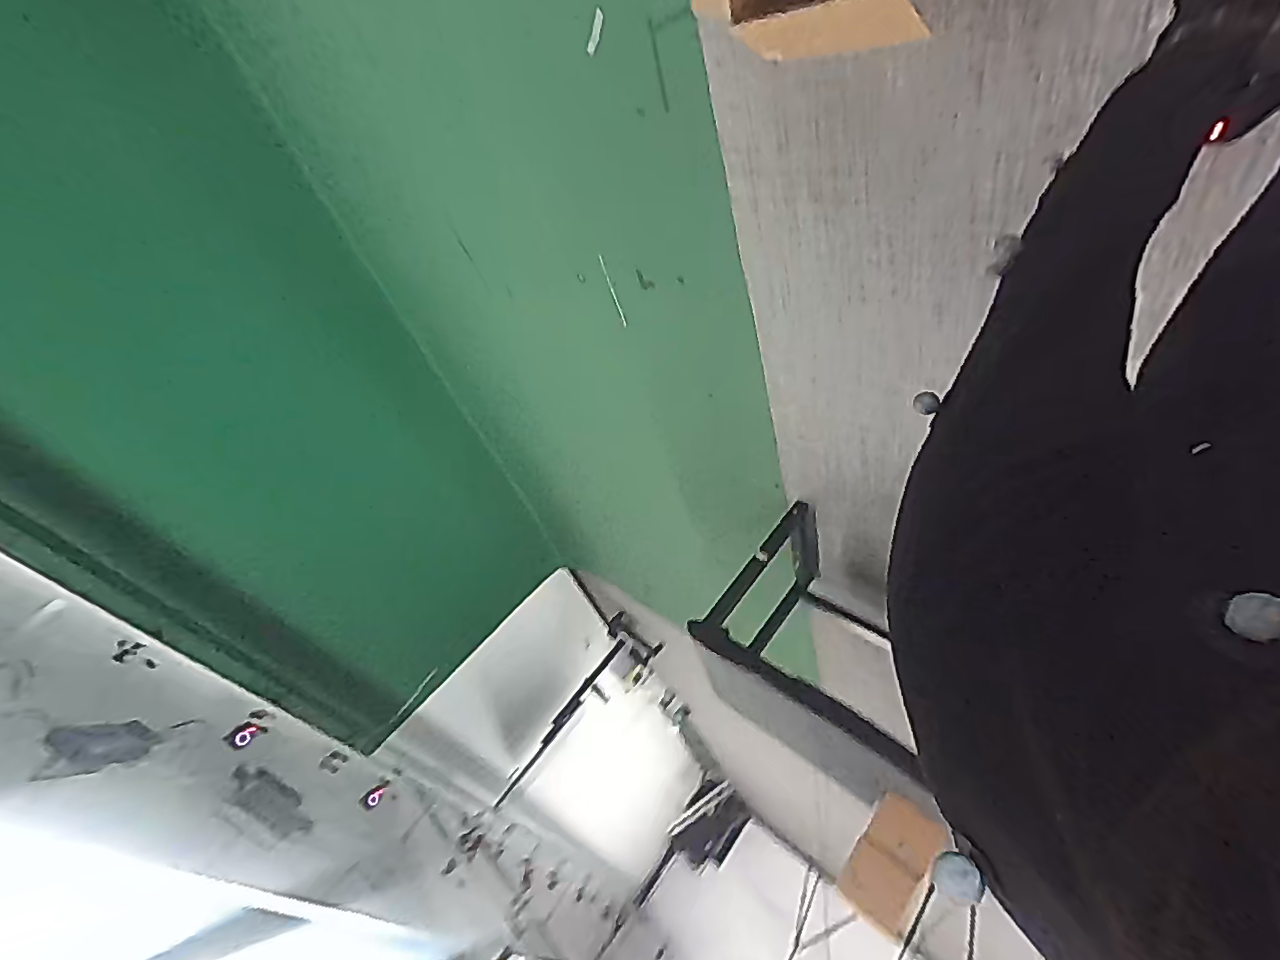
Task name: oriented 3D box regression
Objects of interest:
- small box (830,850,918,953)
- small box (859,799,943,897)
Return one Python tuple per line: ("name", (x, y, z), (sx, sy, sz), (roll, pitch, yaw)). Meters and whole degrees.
("small box", (0.673, 1.209, 1.565), (0.179, 0.176, 0.168), (26, 150, 37))
("small box", (0.785, 1.109, 1.633), (0.179, 0.176, 0.168), (27, 150, 36))
